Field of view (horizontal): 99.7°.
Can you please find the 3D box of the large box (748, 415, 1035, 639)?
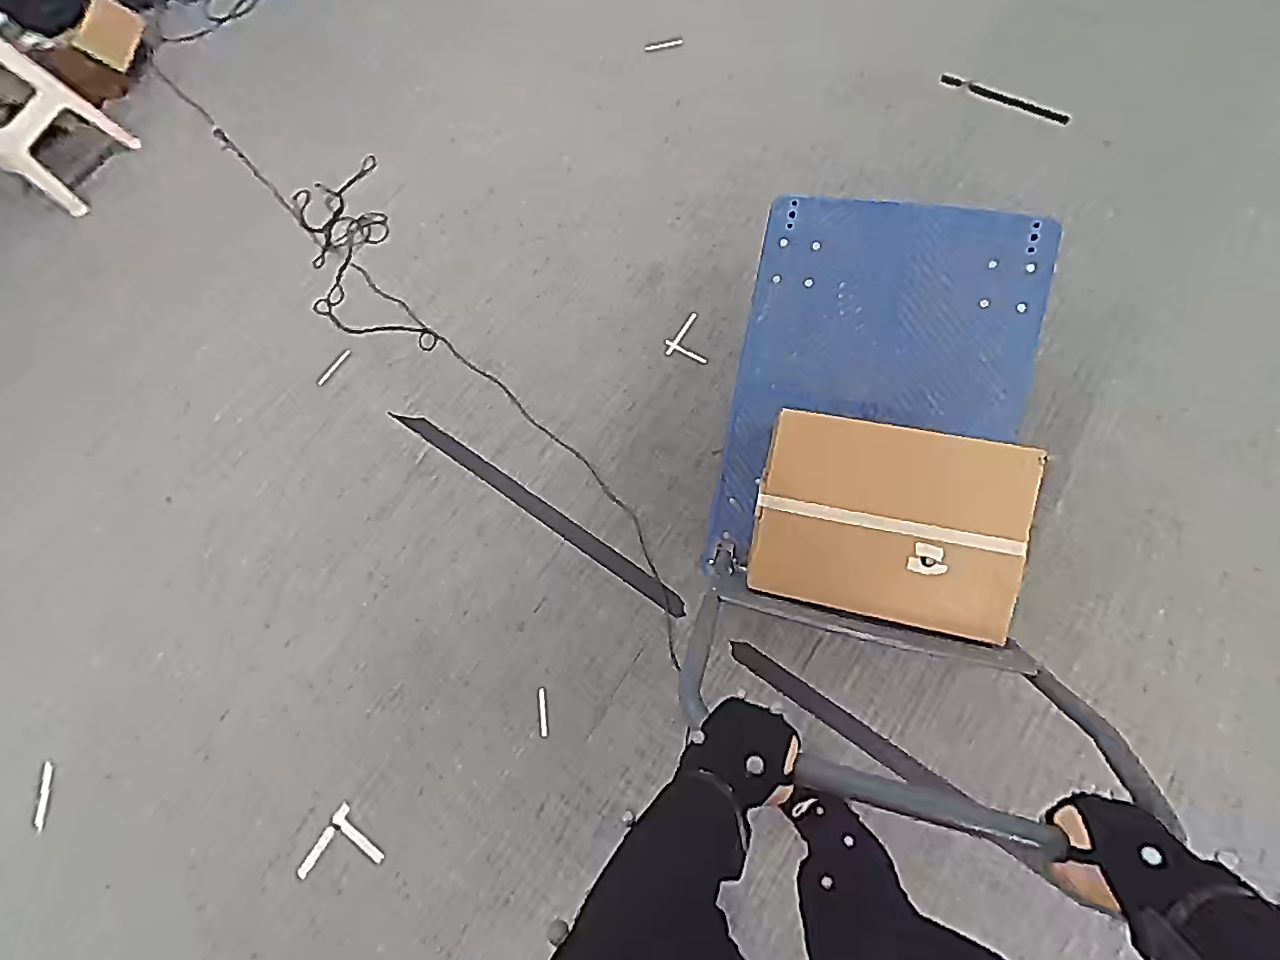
[{"bbox_3d":[0.432,0.070,1.037,0.408,0.320,0.320,11,94,11],"label":"large box"}]
